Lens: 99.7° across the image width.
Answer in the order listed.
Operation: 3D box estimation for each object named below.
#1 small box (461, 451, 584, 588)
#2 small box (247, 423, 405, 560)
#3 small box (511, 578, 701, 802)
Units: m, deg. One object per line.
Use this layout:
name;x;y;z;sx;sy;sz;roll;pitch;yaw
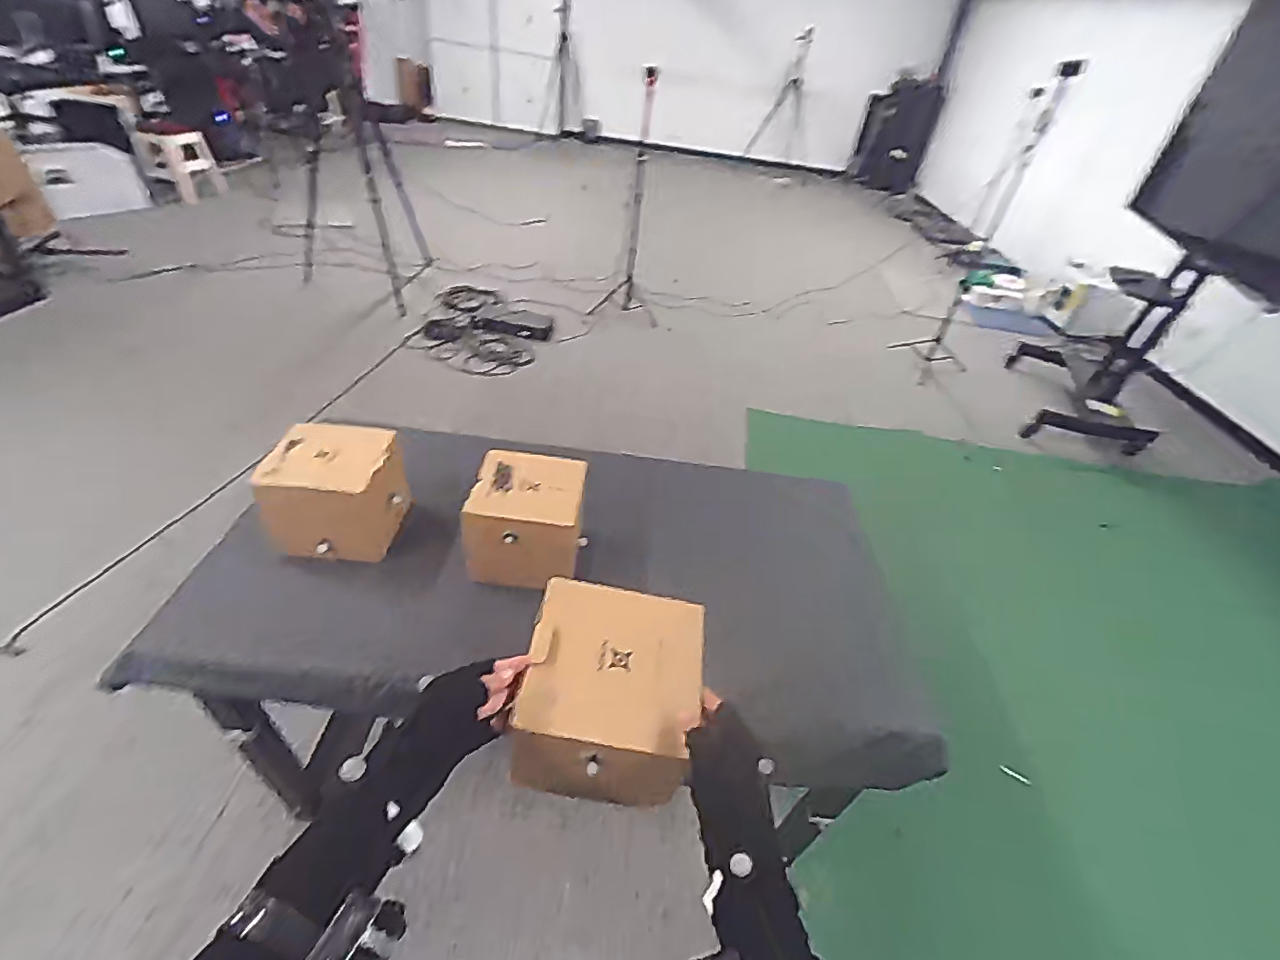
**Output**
small box;-0.200;0.072;0.957;0.179;0.176;0.168;7;40;-3
small box;-0.531;0.023;0.950;0.179;0.176;0.168;6;40;-5
small box;-0.039;0.237;0.602;0.179;0.176;0.168;12;44;-4
